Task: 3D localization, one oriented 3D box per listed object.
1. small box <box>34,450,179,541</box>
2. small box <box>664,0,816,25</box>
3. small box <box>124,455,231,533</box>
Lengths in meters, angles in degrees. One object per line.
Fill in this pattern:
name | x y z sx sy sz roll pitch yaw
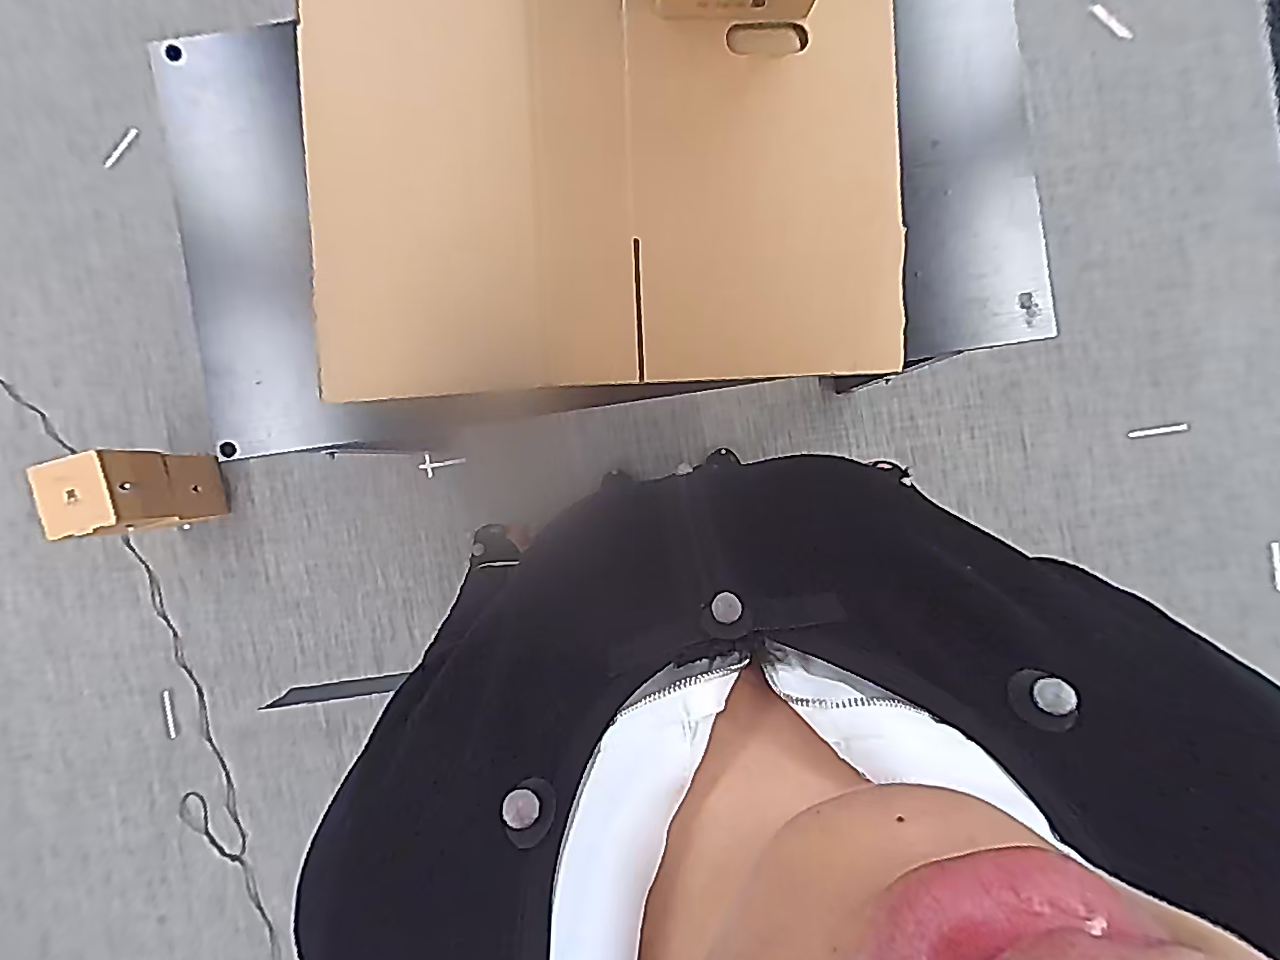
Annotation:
small box | -1.265 0.033 1.298 0.168 0.176 0.179 -15 90 1
small box | 0.106 -0.582 0.504 0.168 0.176 0.179 -1 90 -2
small box | -1.258 0.035 1.460 0.168 0.176 0.179 -12 92 2
